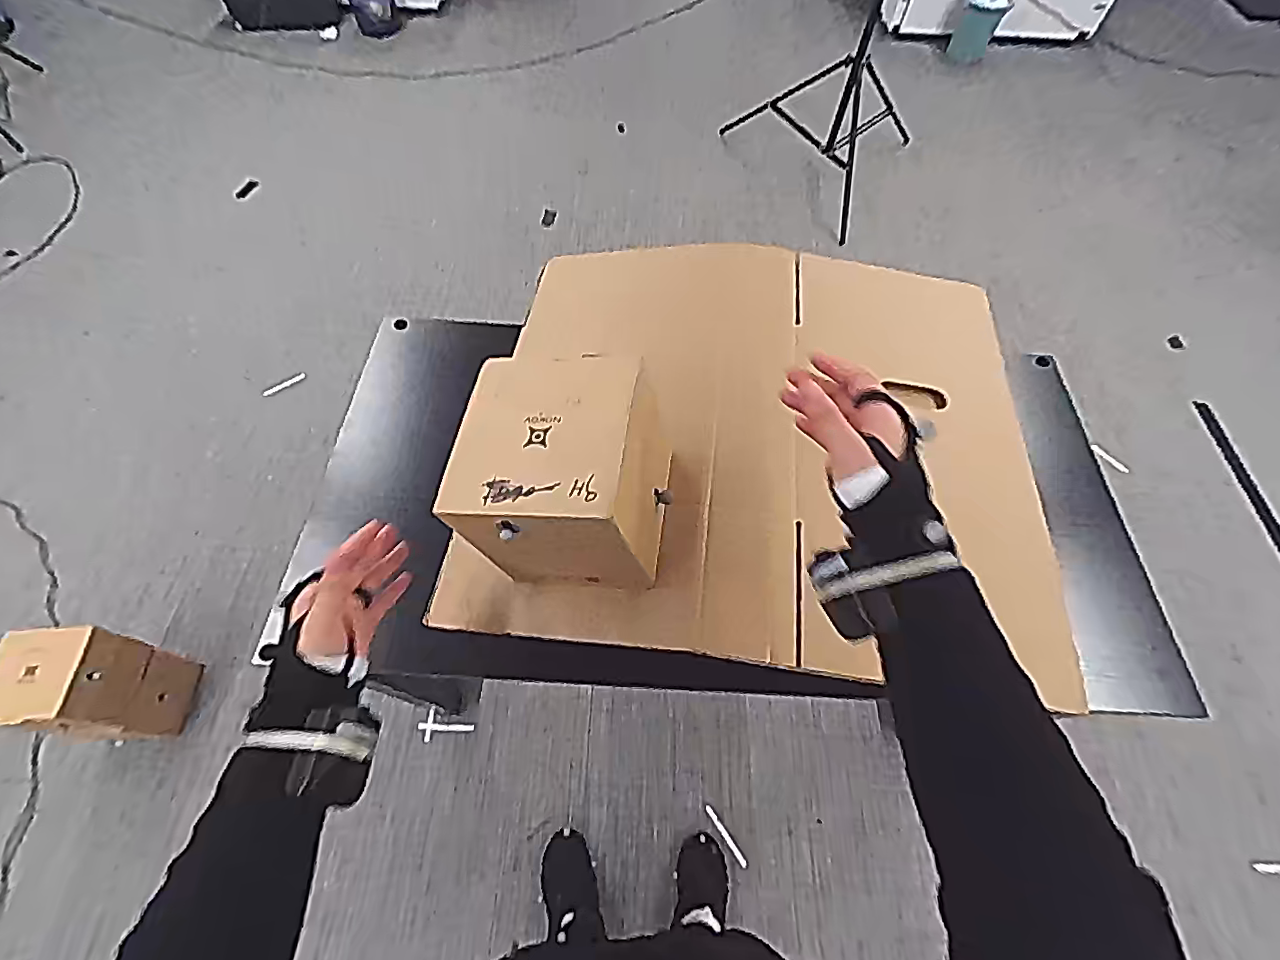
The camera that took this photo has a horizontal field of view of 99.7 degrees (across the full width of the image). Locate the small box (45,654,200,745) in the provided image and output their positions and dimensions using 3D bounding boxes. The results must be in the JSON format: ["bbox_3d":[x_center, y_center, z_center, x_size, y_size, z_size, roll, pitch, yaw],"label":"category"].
[{"bbox_3d":[-1.173,0.508,1.246,0.168,0.176,0.179,-1,61,-2],"label":"small box"}]

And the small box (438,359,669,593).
[{"bbox_3d":[-0.069,0.000,0.554,0.168,0.176,0.179,0,59,15],"label":"small box"}]

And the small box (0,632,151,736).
[{"bbox_3d":[-1.169,0.423,1.108,0.168,0.176,0.179,-3,60,-4],"label":"small box"}]
